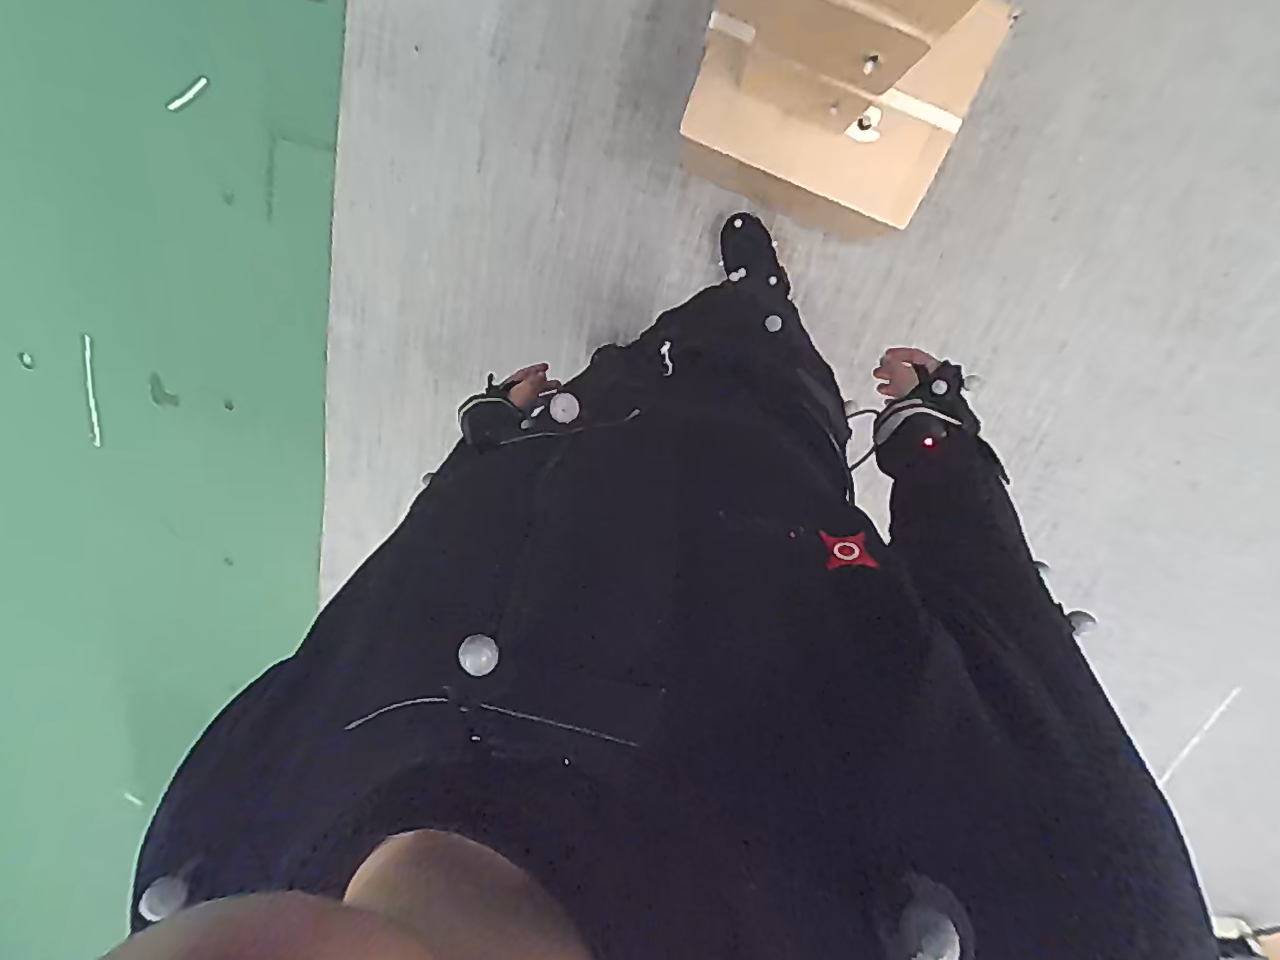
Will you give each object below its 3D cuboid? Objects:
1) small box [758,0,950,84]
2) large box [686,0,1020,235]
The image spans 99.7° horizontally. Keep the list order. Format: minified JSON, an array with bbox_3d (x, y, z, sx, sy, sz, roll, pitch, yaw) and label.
[{"bbox_3d":[0.240,-0.554,0.567,0.179,0.176,0.168,19,110,-1],"label":"small box"},{"bbox_3d":[0.318,-0.668,0.952,0.408,0.320,0.320,21,112,-3],"label":"large box"}]
